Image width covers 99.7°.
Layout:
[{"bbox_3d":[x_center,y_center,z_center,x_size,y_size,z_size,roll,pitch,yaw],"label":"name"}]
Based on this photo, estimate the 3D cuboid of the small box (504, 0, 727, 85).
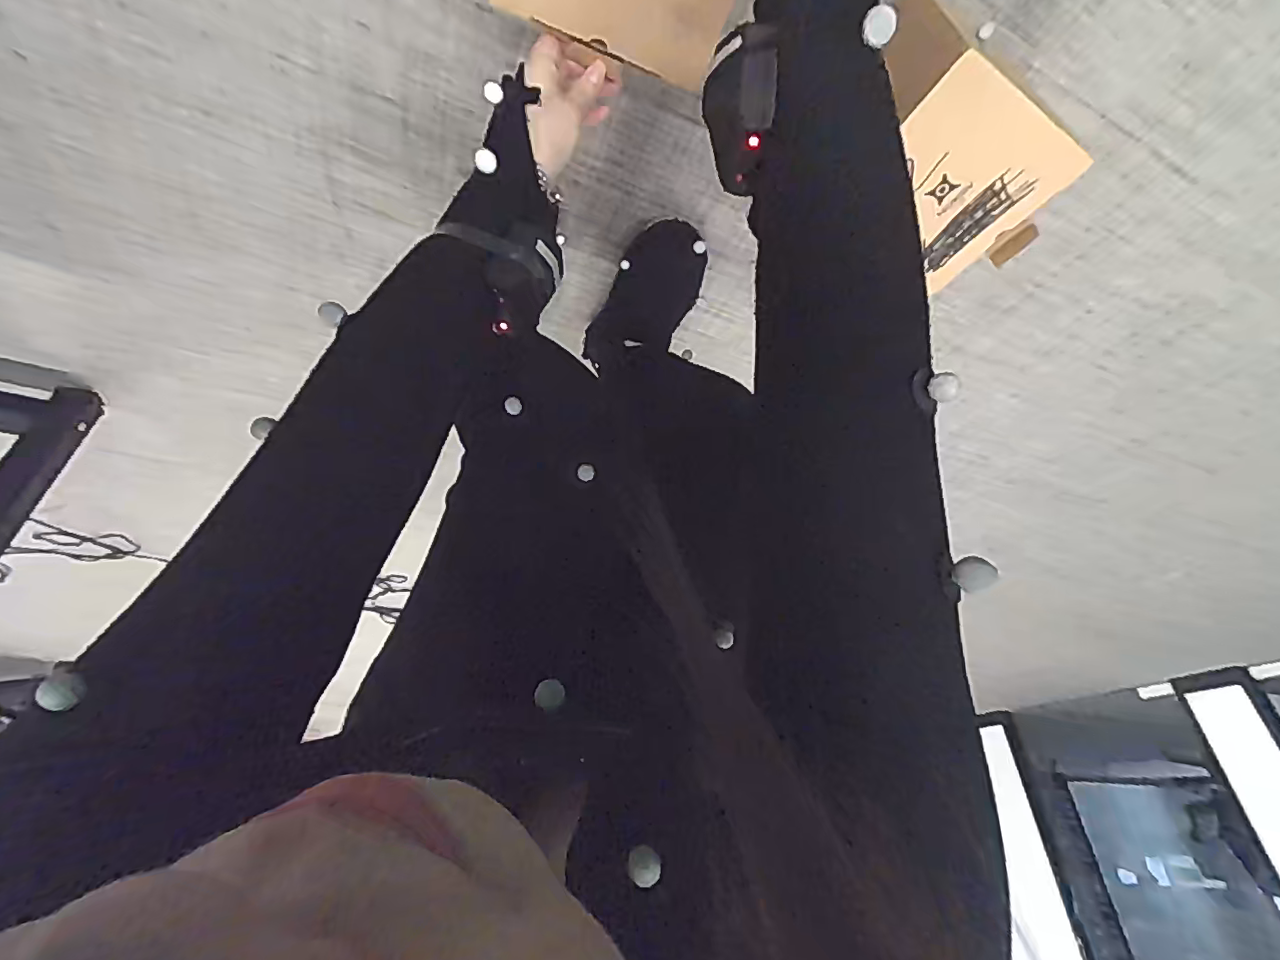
[{"bbox_3d":[-0.002,-0.431,0.370,0.168,0.176,0.179,12,146,-17],"label":"small box"}]
